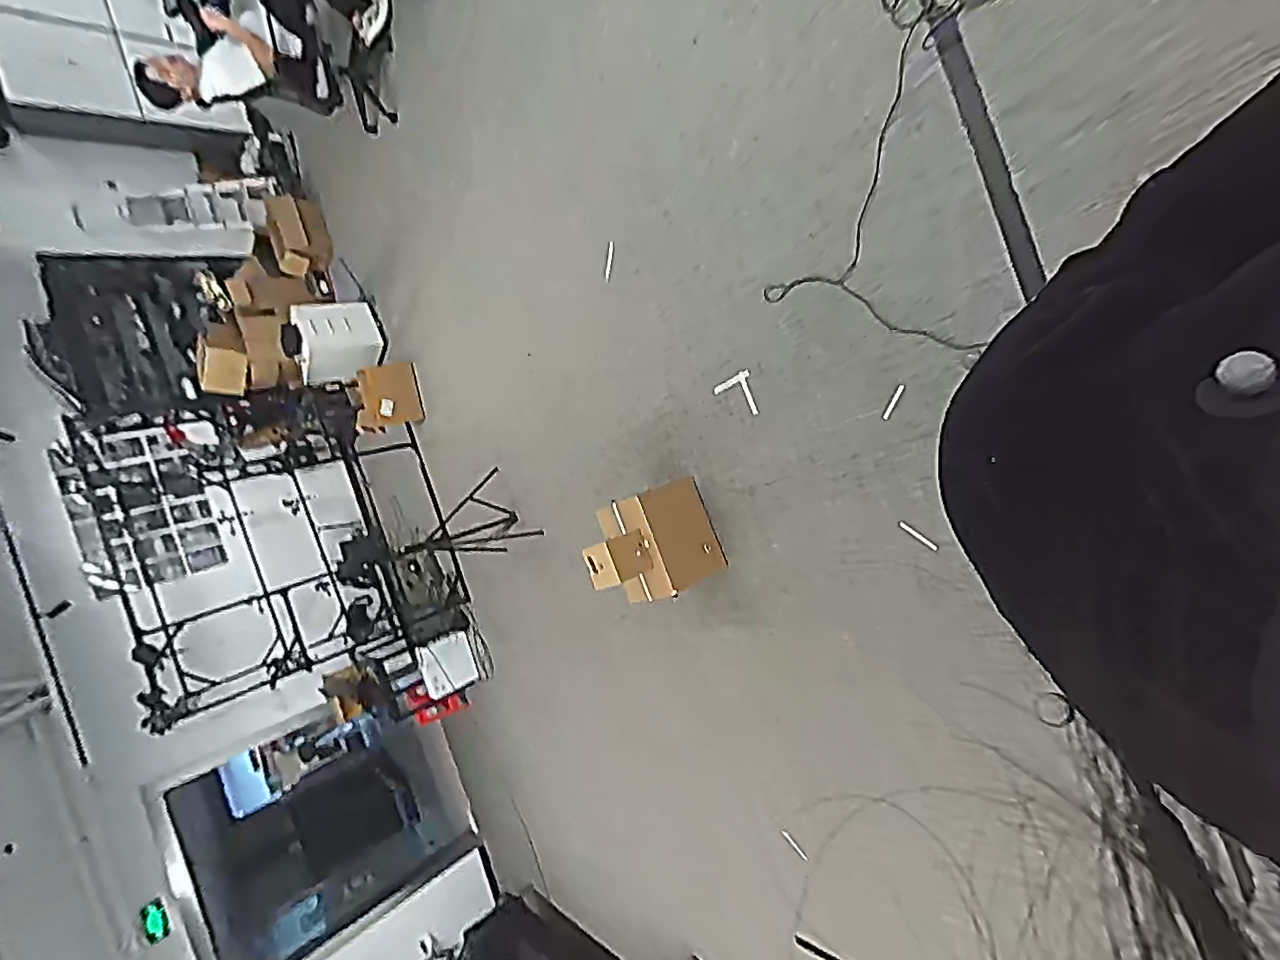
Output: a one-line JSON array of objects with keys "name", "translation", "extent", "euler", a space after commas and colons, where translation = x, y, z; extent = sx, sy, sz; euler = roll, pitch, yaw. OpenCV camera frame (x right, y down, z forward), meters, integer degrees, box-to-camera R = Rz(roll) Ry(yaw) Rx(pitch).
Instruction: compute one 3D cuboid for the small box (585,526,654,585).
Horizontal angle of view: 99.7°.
[{"name": "small box", "translation": [-0.076, 0.288, 2.058], "extent": [0.179, 0.176, 0.168], "euler": [-25, 85, 50]}]
